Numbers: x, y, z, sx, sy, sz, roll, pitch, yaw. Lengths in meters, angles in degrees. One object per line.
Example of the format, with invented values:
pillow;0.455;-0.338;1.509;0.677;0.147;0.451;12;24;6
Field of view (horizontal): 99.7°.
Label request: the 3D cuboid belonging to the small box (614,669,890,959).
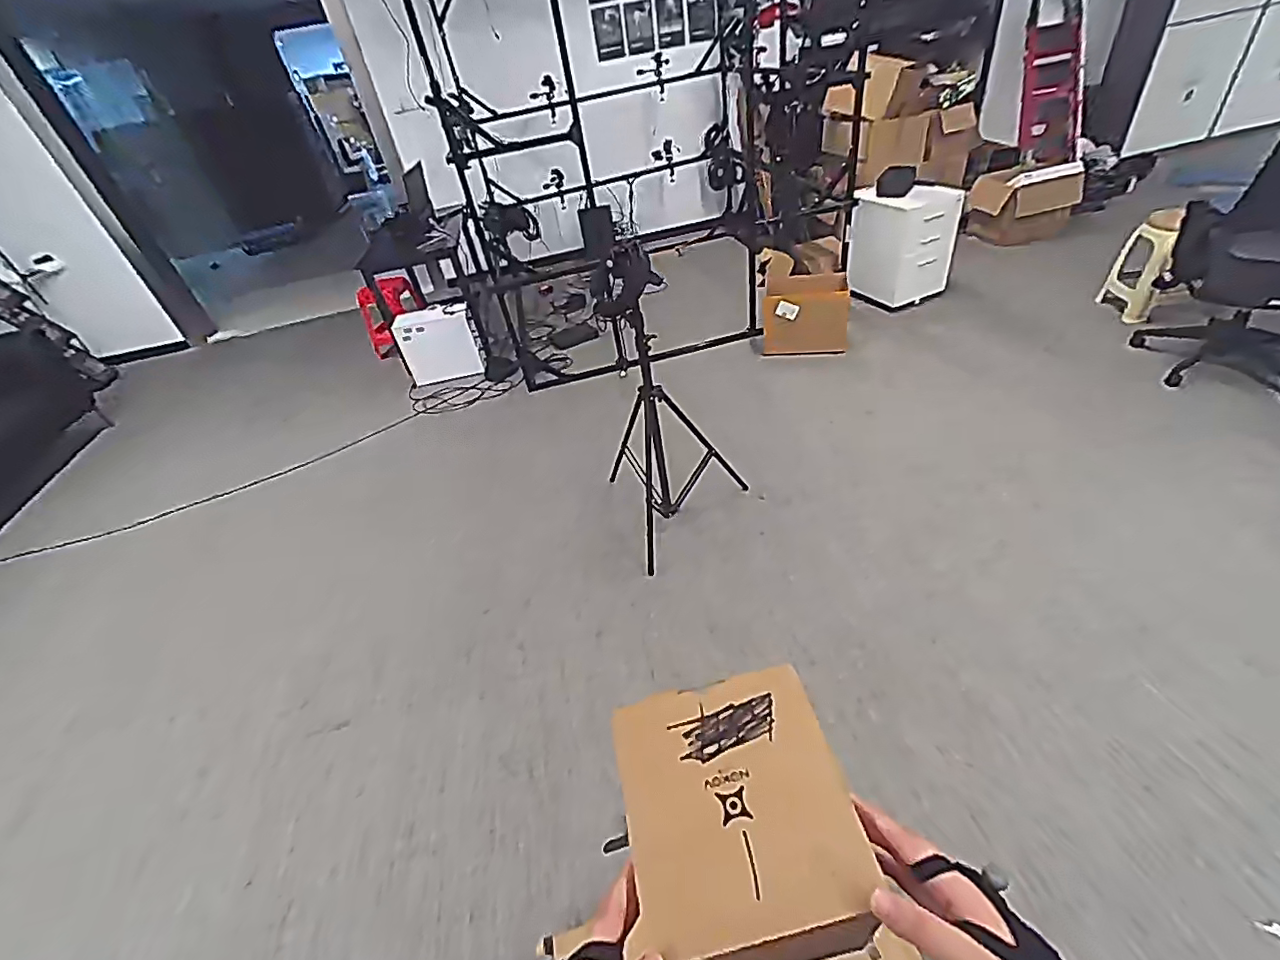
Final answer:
small box;0.080;0.297;0.461;0.168;0.176;0.179;-14;41;-2
